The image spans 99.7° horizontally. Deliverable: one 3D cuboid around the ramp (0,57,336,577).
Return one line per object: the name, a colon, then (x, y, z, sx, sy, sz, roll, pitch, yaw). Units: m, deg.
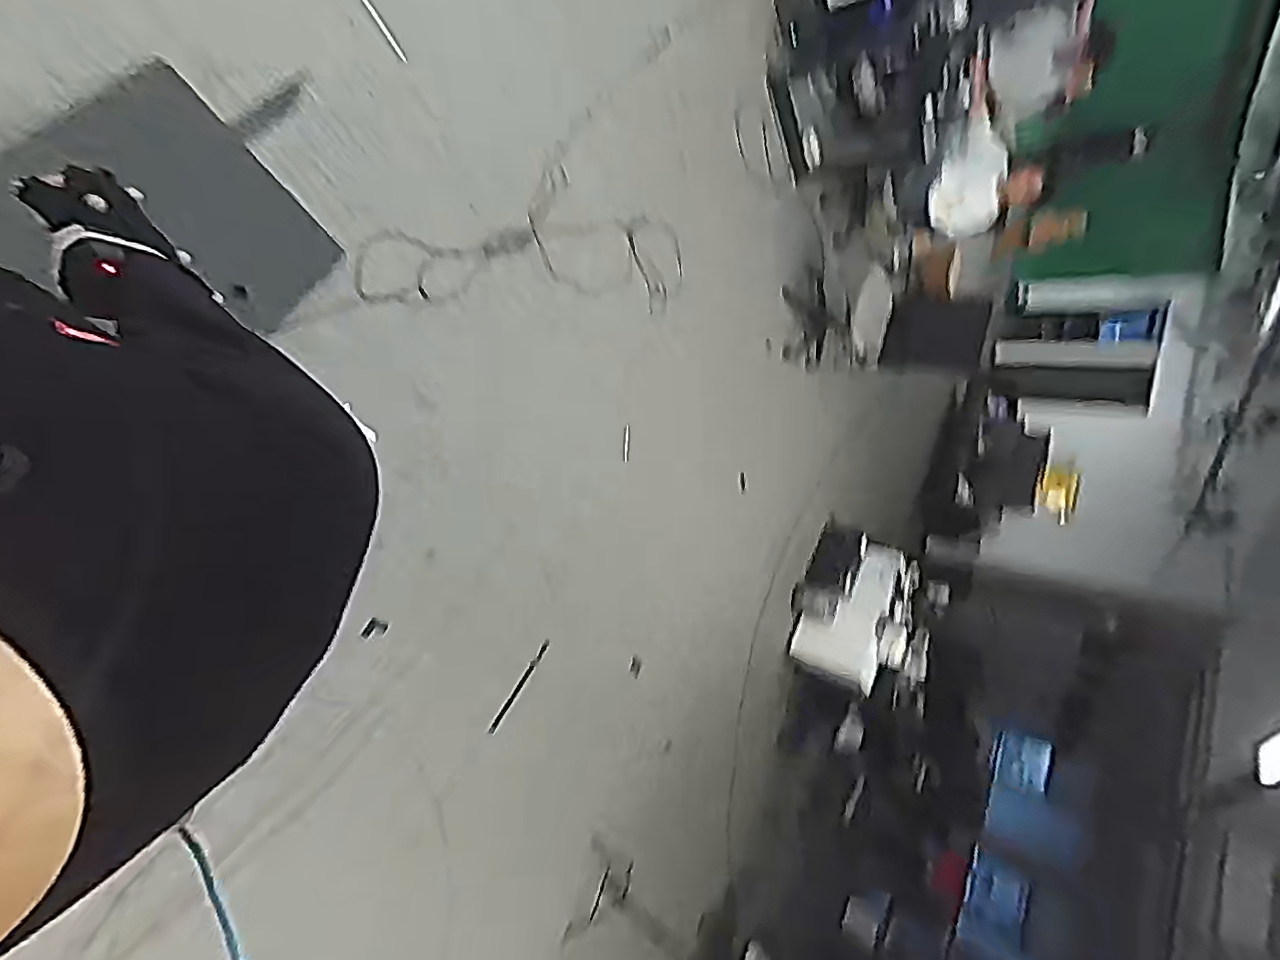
ramp: (-1.104, -0.359, 1.078, 0.509, 0.206, 0.991, 49, 62, -43)
